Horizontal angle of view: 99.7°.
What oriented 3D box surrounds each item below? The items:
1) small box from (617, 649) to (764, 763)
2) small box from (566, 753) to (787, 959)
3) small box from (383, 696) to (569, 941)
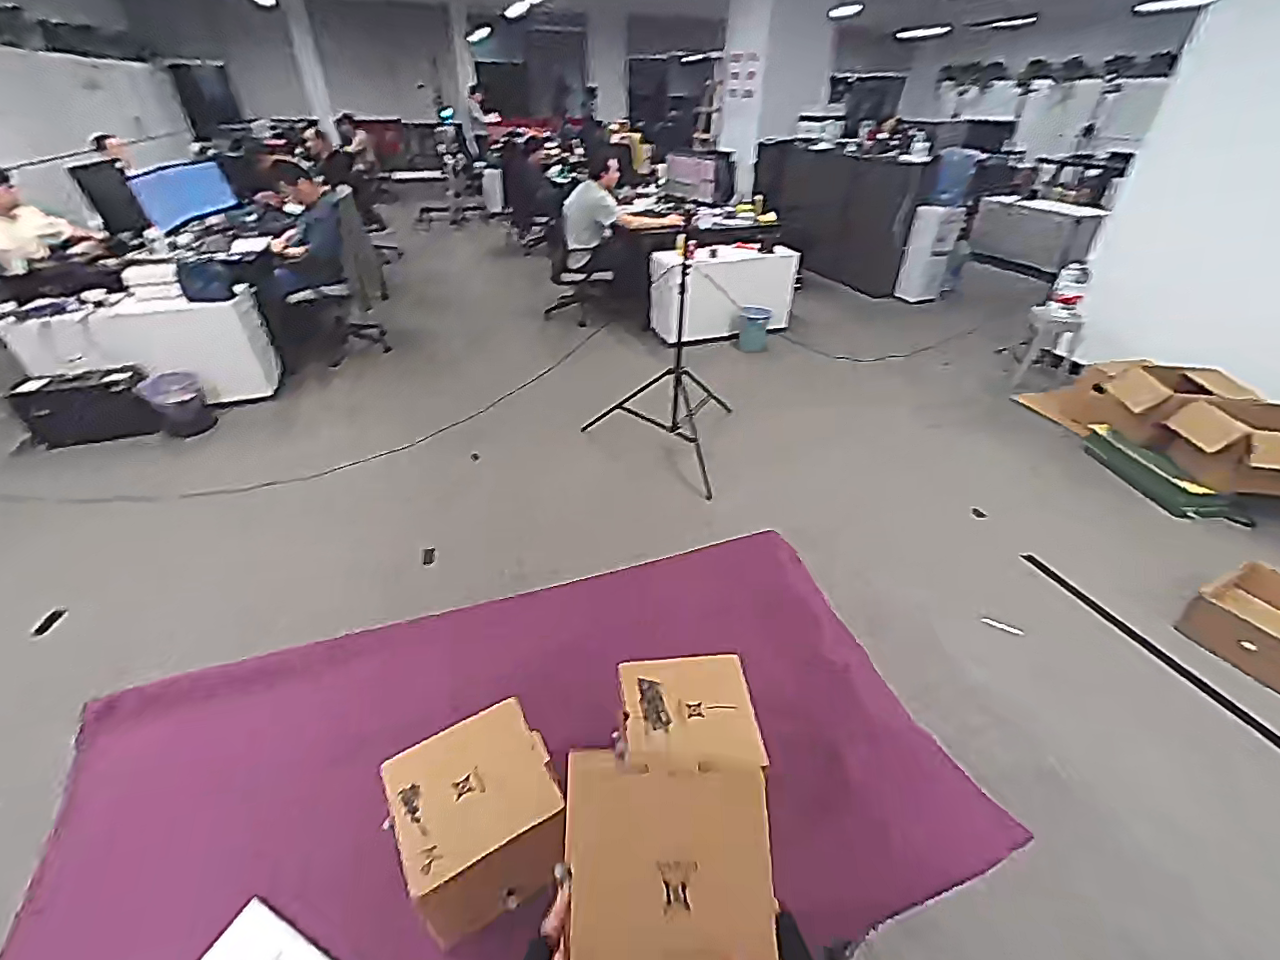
[{"bbox_3d":[0.062,0.364,0.763,0.179,0.176,0.168,-3,34,-4],"label":"small box"},{"bbox_3d":[0.022,0.355,0.501,0.168,0.176,0.179,5,66,-8],"label":"small box"},{"bbox_3d":[-0.200,0.420,0.684,0.179,0.176,0.168,-19,39,-26],"label":"small box"}]
